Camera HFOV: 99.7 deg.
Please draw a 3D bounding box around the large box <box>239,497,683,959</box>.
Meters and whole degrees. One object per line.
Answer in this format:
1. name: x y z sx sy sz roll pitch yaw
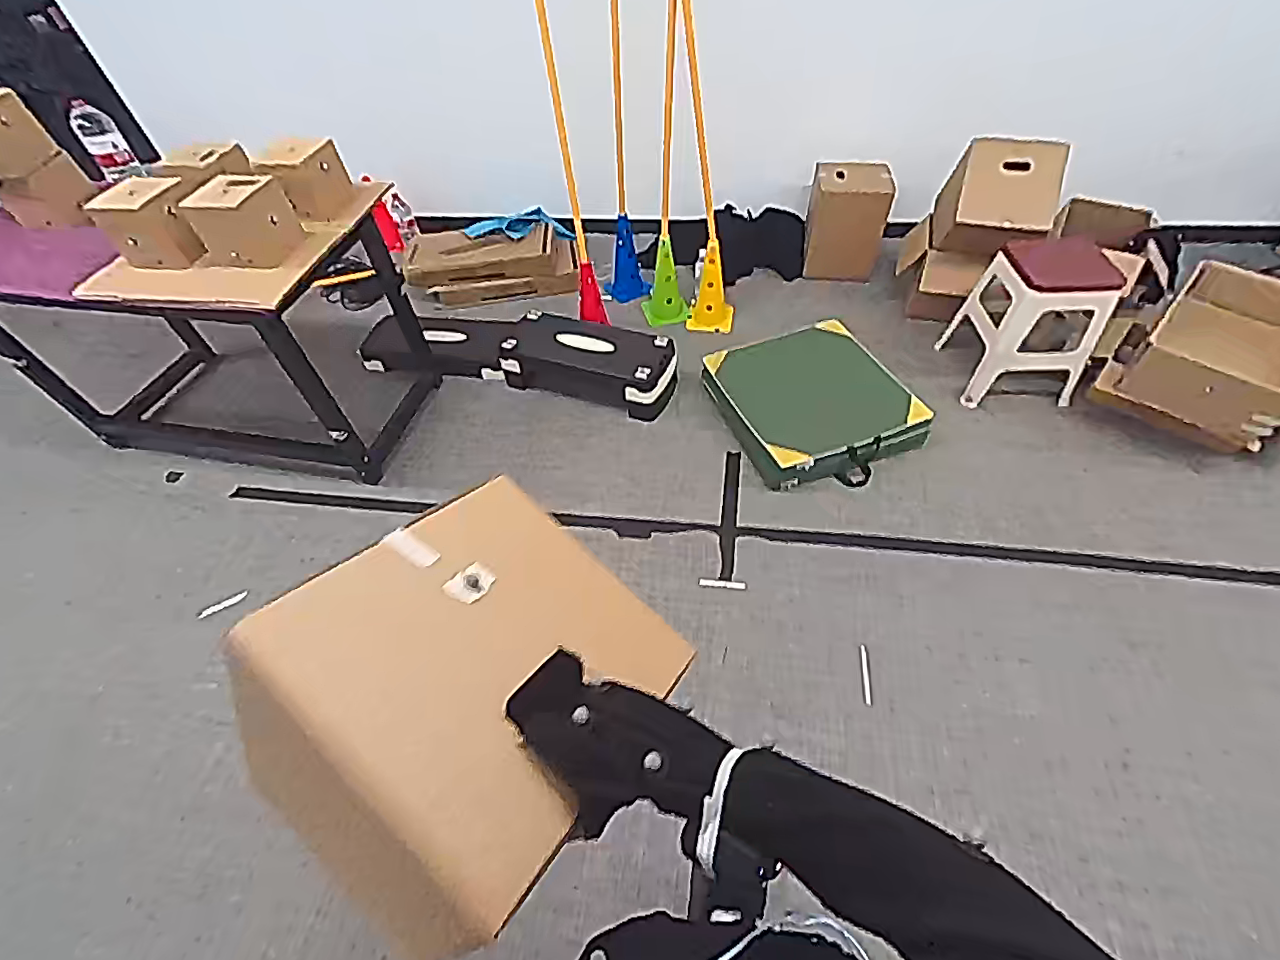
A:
1. large box: -0.216 0.298 0.653 0.320 0.408 0.320 41 41 11
